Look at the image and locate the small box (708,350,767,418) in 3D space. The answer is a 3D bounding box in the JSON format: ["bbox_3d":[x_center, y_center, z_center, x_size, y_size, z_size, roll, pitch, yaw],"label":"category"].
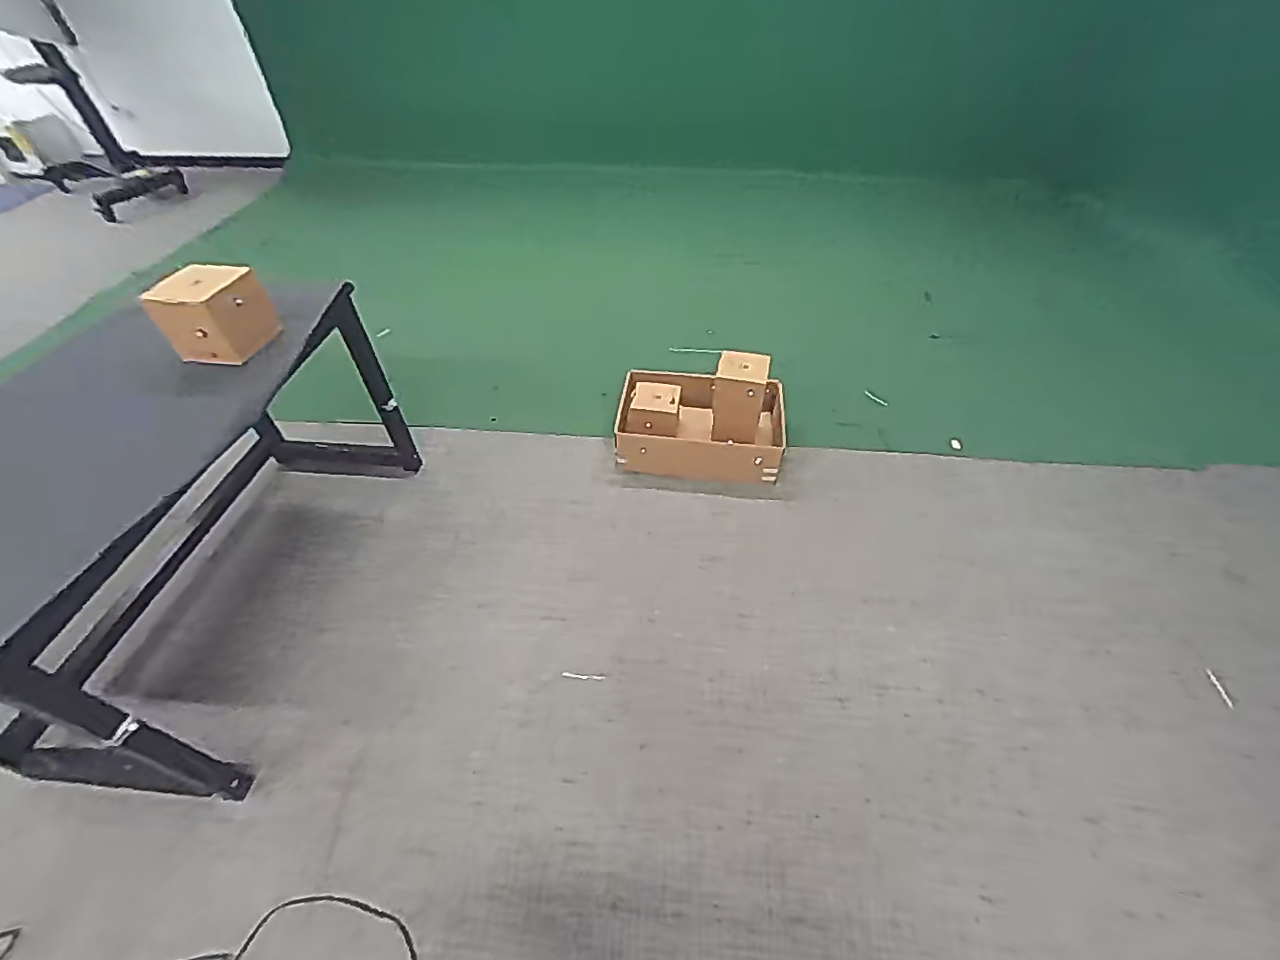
[{"bbox_3d":[0.349,-0.343,1.947,0.179,0.176,0.168,11,48,10],"label":"small box"}]

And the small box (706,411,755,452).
[{"bbox_3d":[0.350,-0.235,2.072,0.168,0.176,0.179,10,50,10],"label":"small box"}]

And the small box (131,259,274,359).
[{"bbox_3d":[-1.030,-0.409,1.296,0.168,0.176,0.179,7,46,6],"label":"small box"}]
